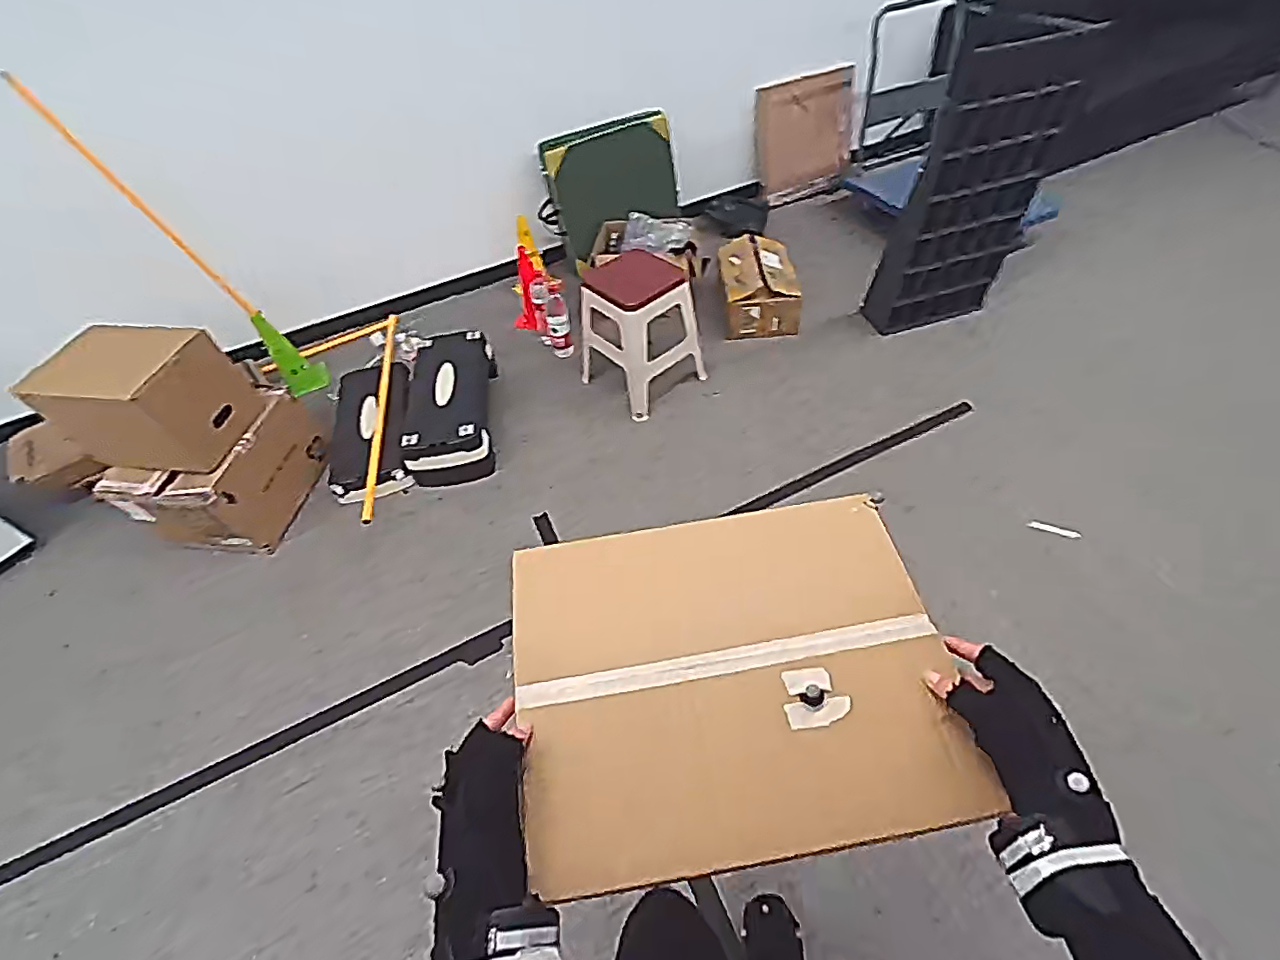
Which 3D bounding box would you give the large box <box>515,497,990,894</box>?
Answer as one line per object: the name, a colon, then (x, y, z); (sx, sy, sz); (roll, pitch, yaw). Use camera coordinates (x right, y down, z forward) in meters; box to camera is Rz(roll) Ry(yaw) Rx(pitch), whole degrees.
large box: (0.088, 0.263, 0.654); (0.408, 0.320, 0.320); (-10, 55, -3)
